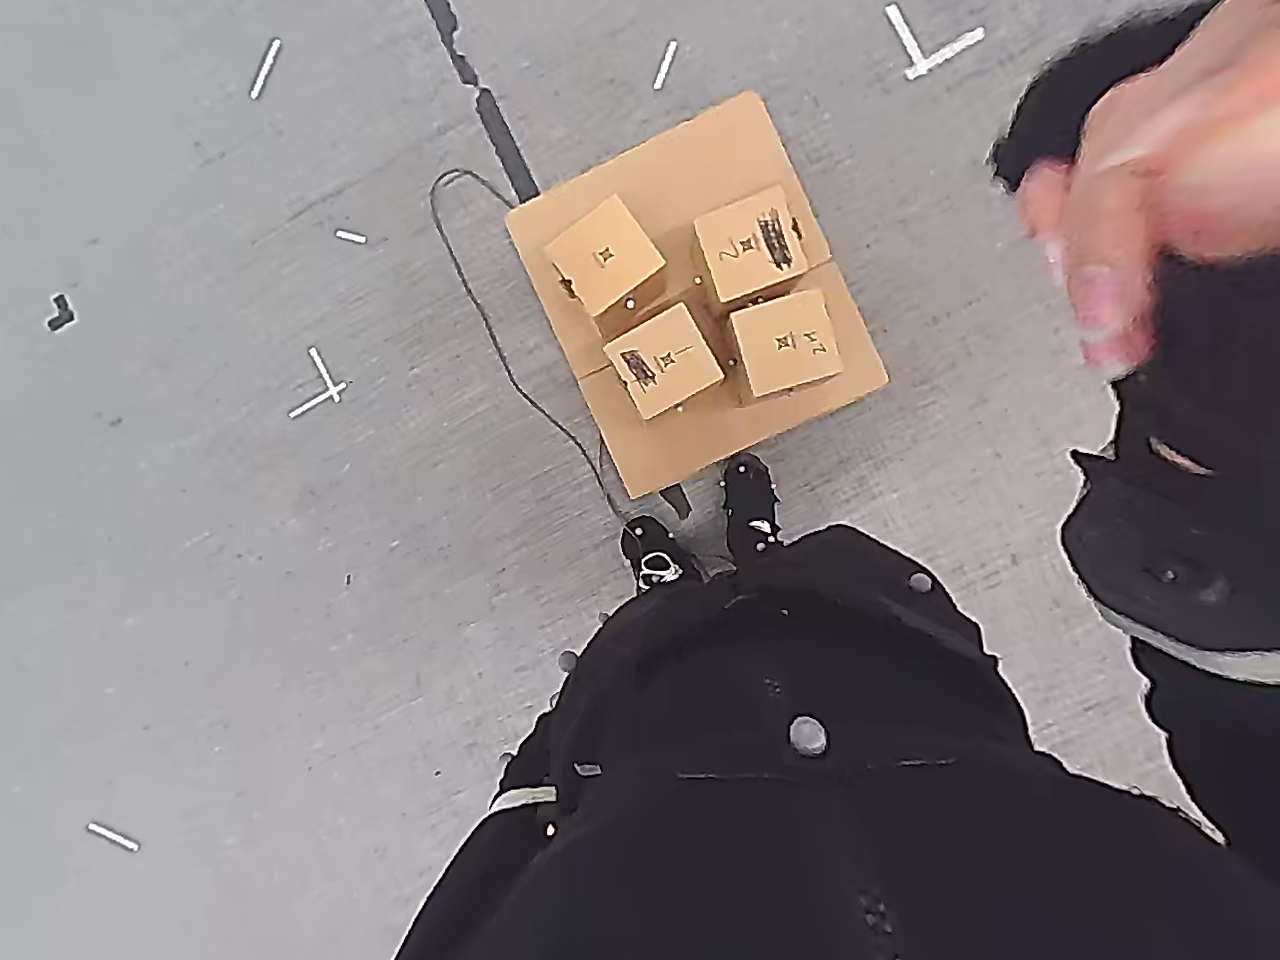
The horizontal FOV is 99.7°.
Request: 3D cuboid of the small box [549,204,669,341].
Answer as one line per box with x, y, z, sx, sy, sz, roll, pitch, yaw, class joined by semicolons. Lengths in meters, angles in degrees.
-0.057;-0.414;1.108;0.179;0.176;0.168;-36;89;5;small box
